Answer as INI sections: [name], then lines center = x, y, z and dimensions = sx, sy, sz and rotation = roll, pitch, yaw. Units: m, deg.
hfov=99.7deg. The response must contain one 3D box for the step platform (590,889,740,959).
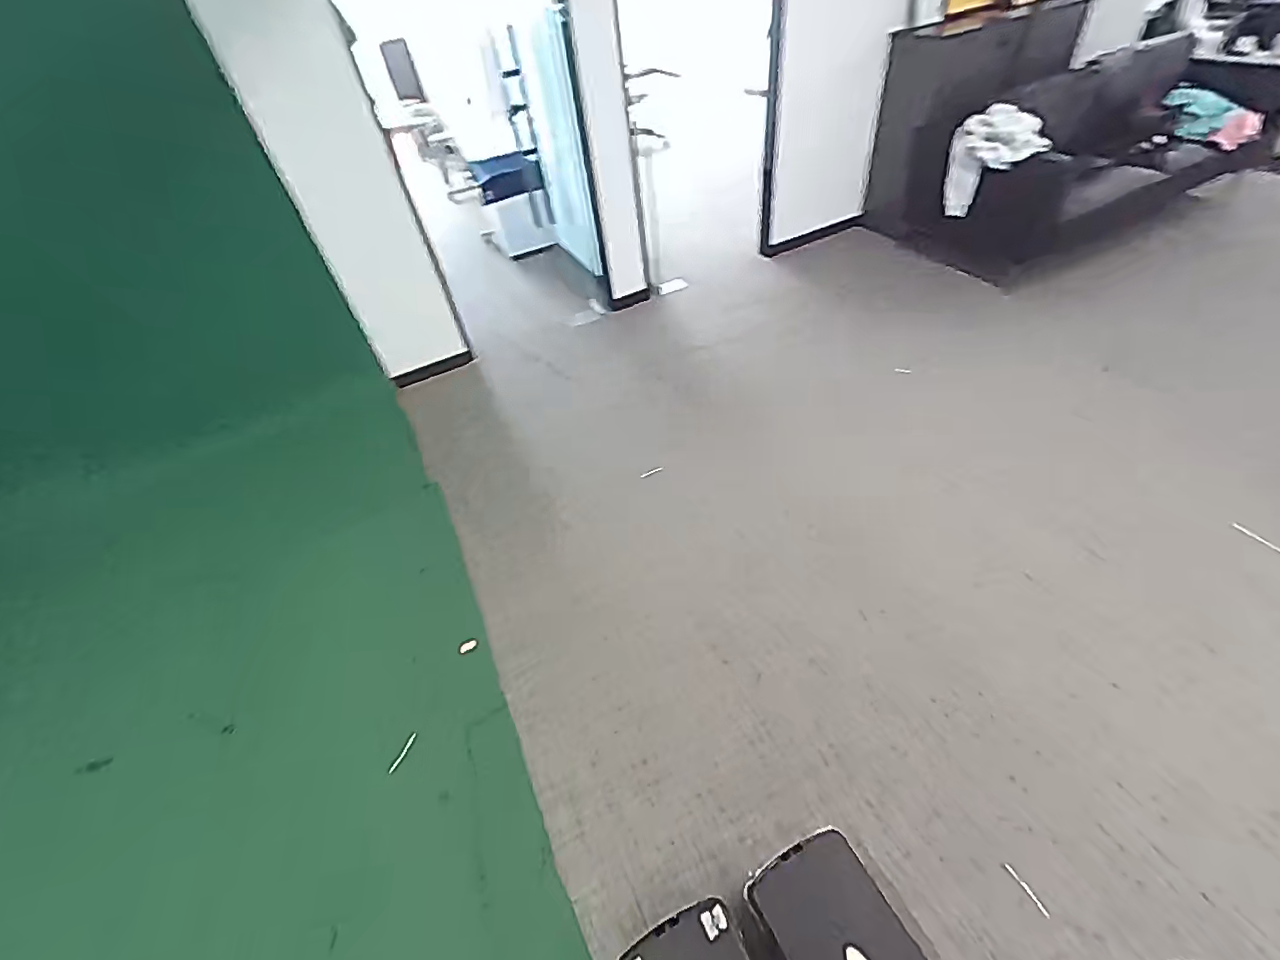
[step platform]
center = 0.163, 1.096, 0.866
dimensions = 0.286, 0.204, 0.684
rotation = -23, 48, -15
